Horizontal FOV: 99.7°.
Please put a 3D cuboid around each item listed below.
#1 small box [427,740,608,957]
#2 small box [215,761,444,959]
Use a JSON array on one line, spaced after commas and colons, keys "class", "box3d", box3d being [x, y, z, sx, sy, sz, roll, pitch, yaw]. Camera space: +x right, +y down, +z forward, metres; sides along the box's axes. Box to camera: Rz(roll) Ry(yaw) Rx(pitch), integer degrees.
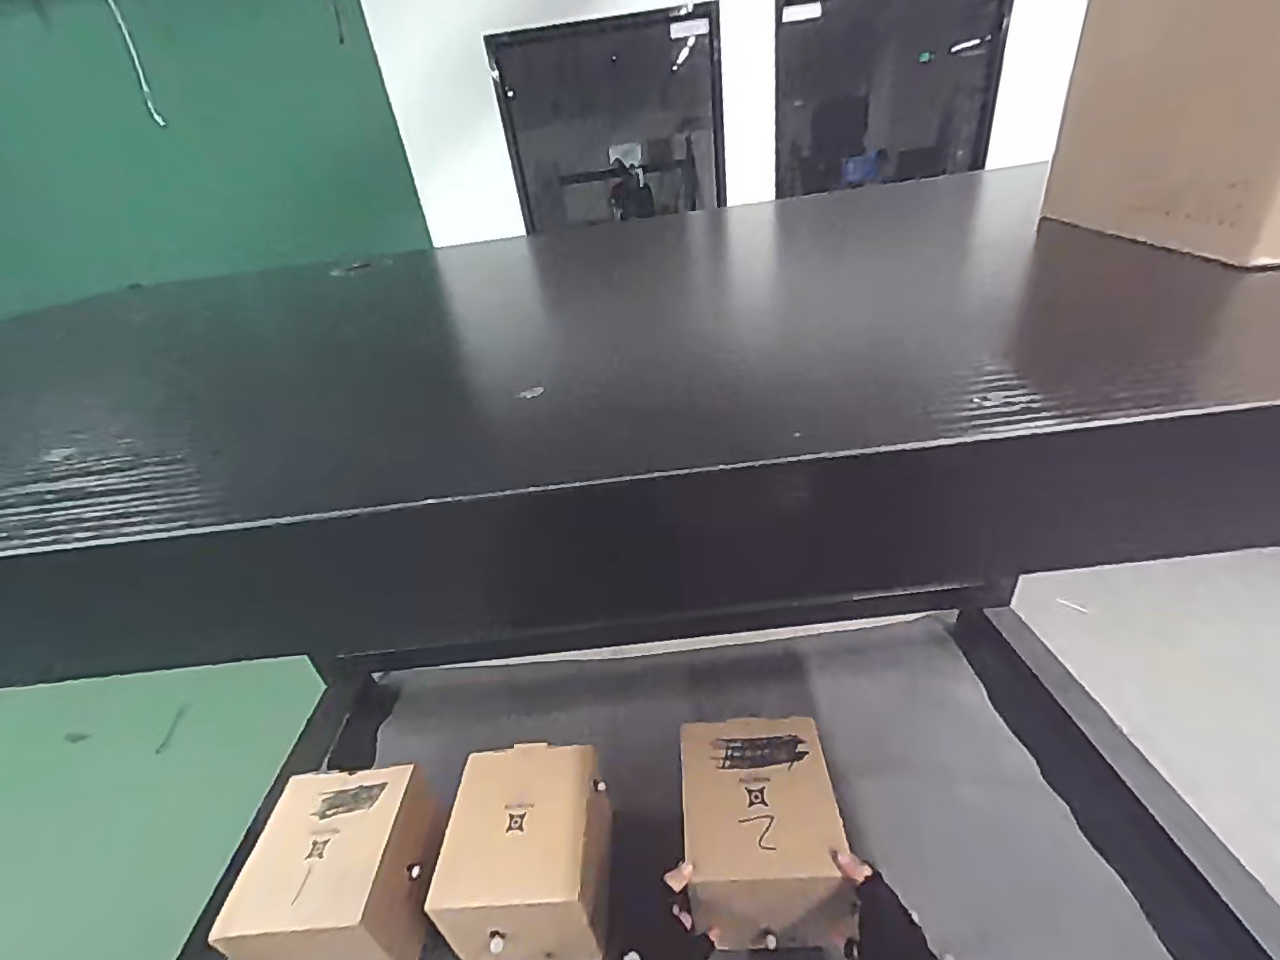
[{"class": "small box", "box3d": [-0.135, 0.460, 0.675, 0.168, 0.176, 0.179, -6, 30, 3]}, {"class": "small box", "box3d": [-0.361, 0.488, 0.676, 0.168, 0.176, 0.179, -6, 30, 2]}]
